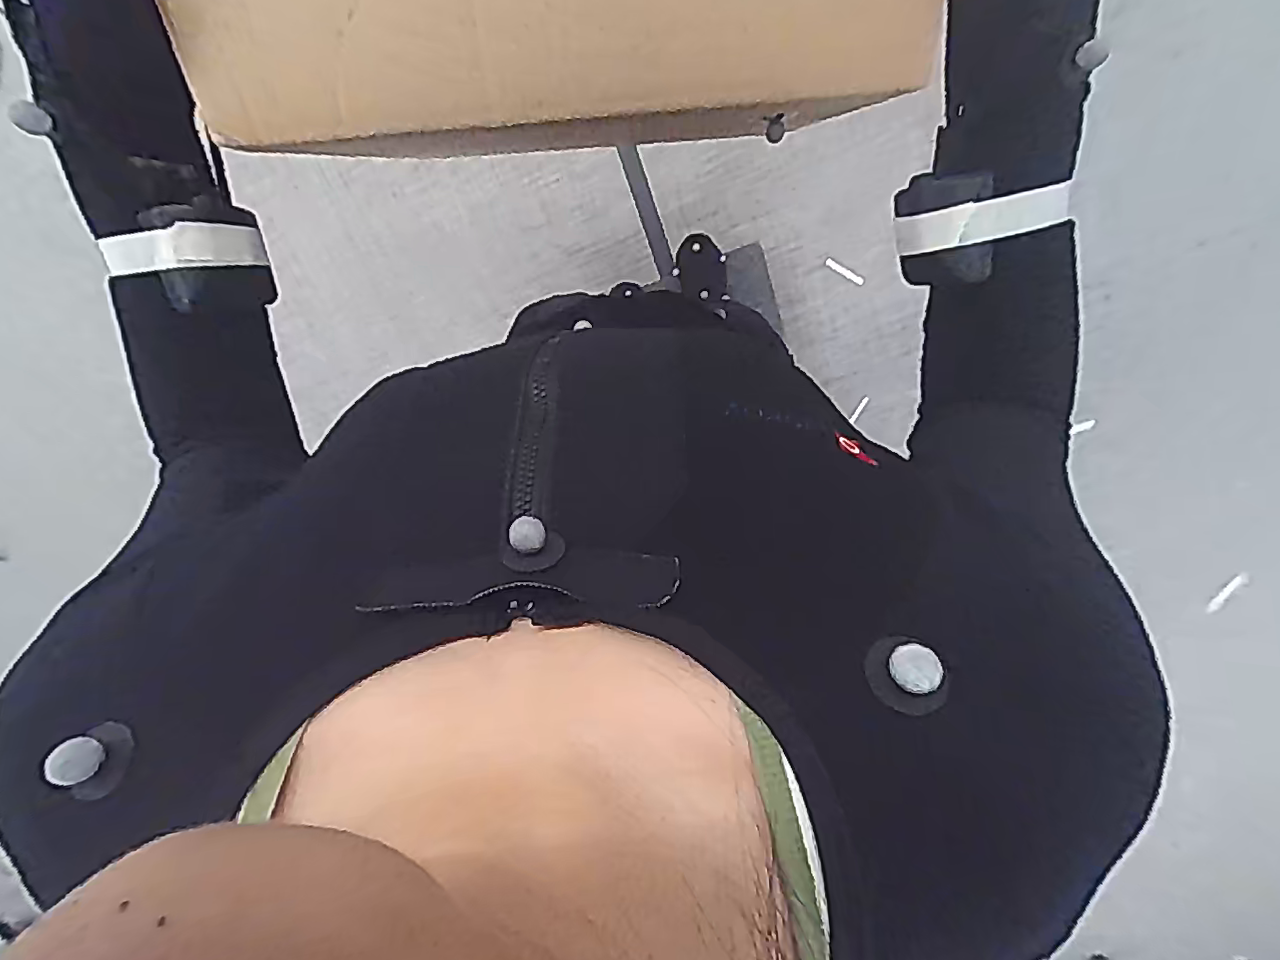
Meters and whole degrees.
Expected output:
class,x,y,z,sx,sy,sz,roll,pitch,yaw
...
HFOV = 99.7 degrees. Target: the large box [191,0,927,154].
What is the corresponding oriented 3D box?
class,x,y,z,sx,sy,sz,roll,pitch,yaw
large box,-0.047,-0.417,0.370,0.408,0.320,0.320,-2,119,3
